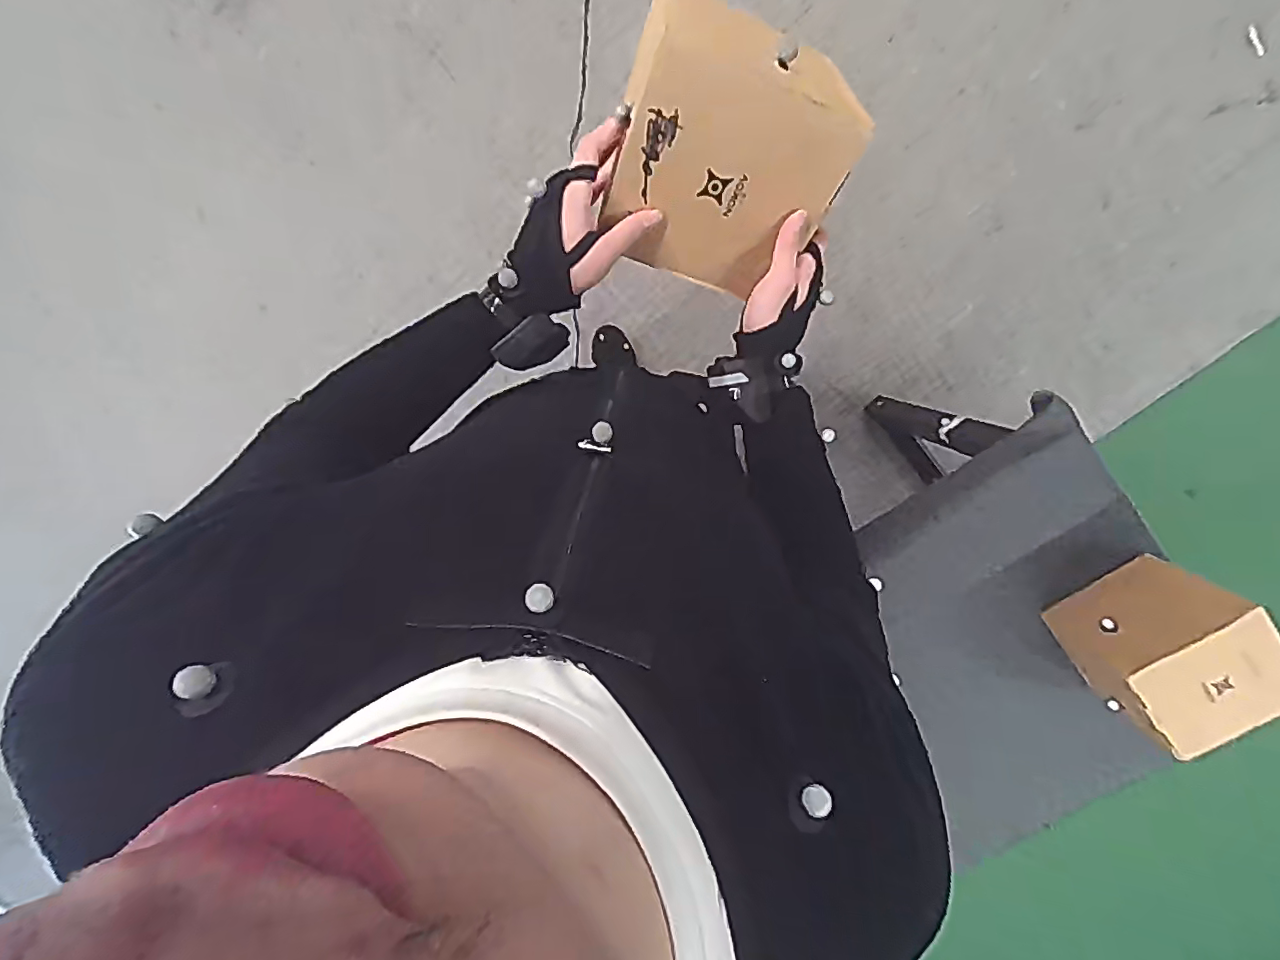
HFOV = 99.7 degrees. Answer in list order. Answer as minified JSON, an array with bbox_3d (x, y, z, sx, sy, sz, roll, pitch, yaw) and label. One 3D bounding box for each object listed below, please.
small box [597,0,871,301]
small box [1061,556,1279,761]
[{"bbox_3d":[0.070,-0.303,0.496,0.179,0.176,0.168,13,140,-16],"label":"small box"},{"bbox_3d":[0.742,0.239,0.757,0.179,0.176,0.168,-35,102,11],"label":"small box"}]
